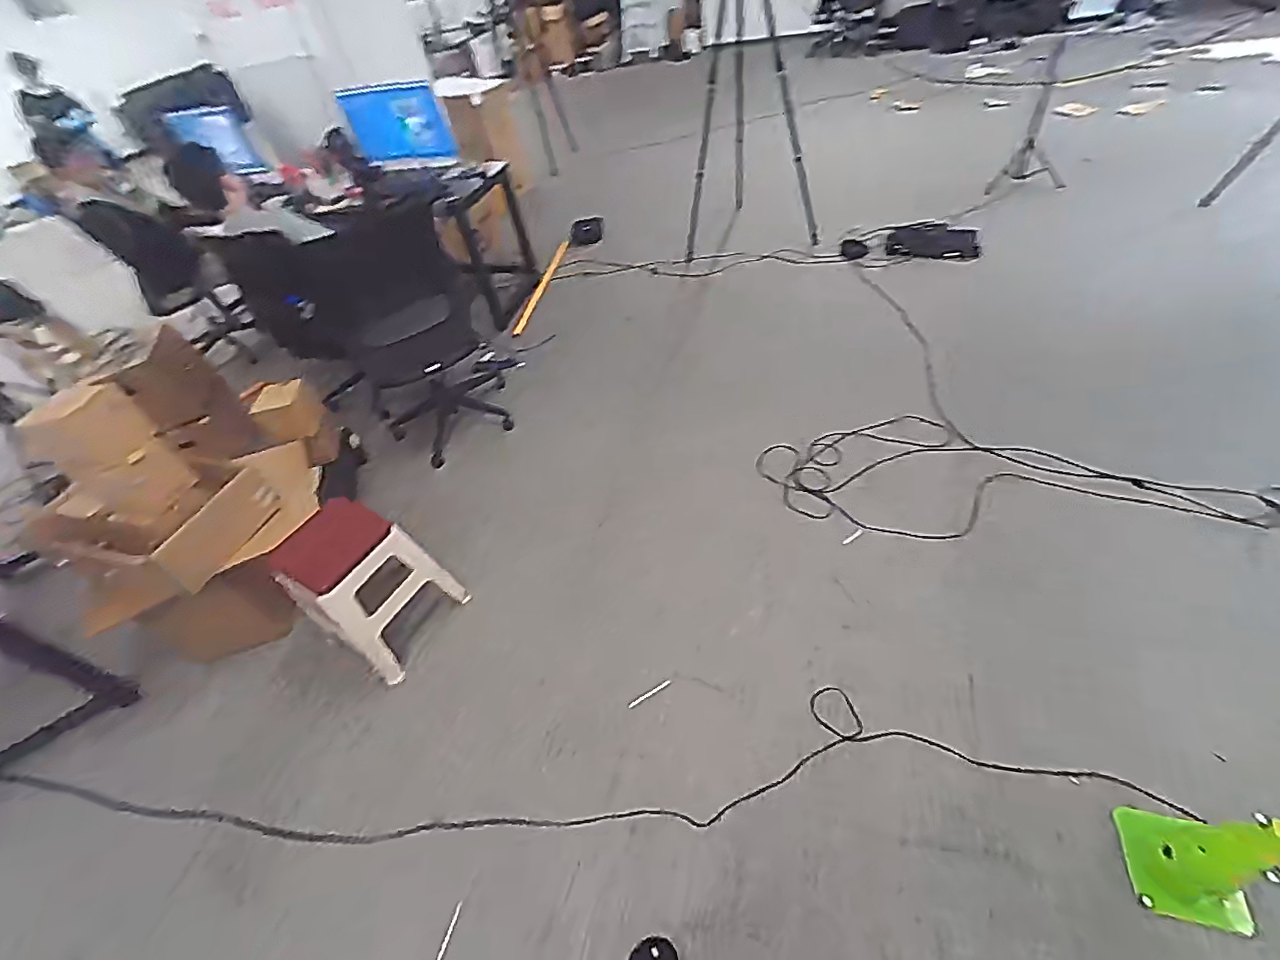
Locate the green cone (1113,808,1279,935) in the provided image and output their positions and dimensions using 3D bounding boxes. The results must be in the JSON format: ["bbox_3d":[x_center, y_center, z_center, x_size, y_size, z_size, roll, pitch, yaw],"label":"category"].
[{"bbox_3d":[1.147,0.722,1.051,0.200,0.368,0.202,4,47,16],"label":"green cone"}]
